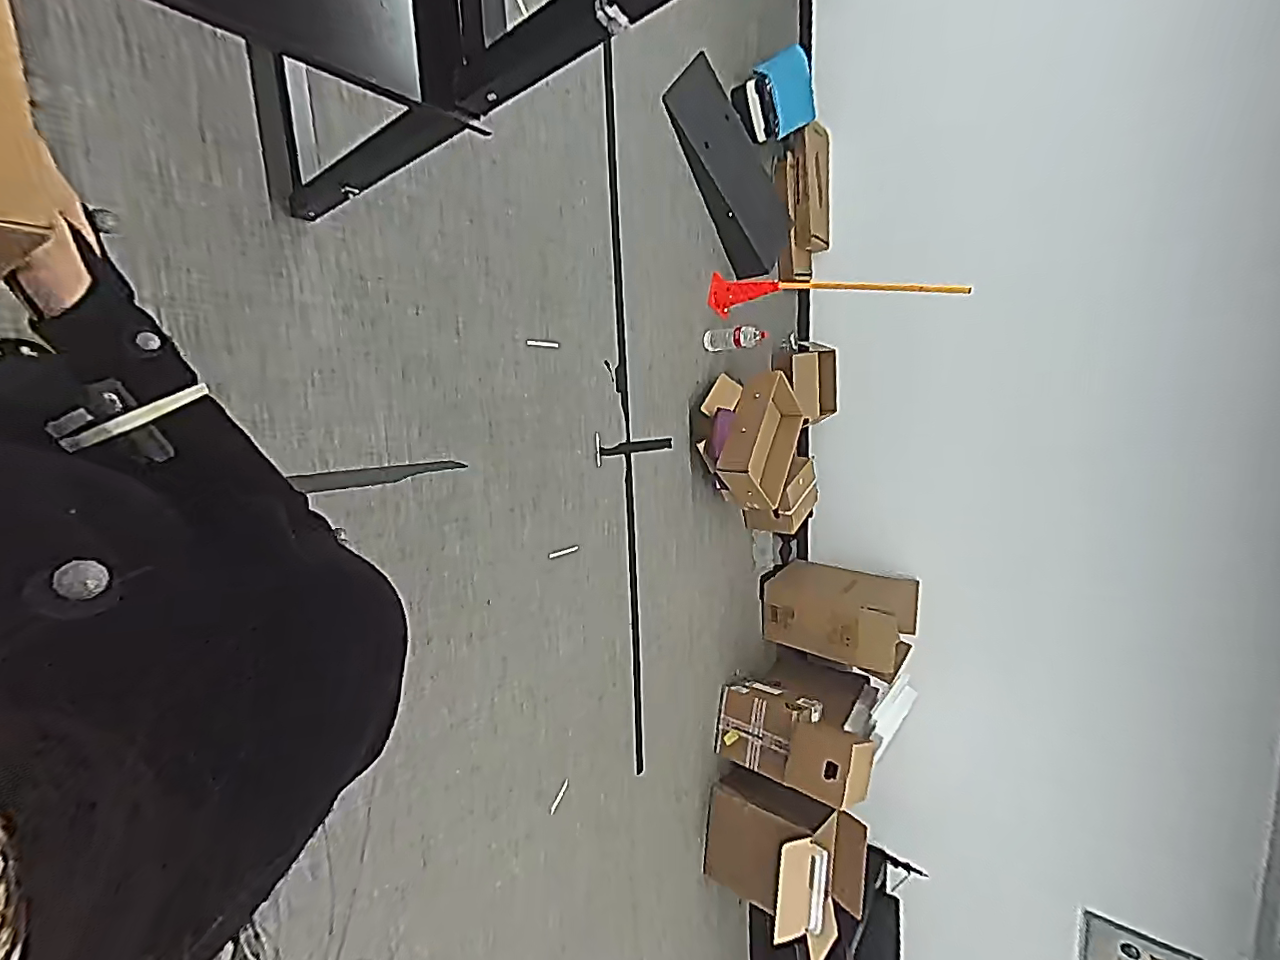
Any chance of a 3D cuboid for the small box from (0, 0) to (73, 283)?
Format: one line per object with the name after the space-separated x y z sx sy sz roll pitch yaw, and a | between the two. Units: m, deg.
-0.384 -0.186 0.217 0.168 0.176 0.179 -17 106 -57 | small box
